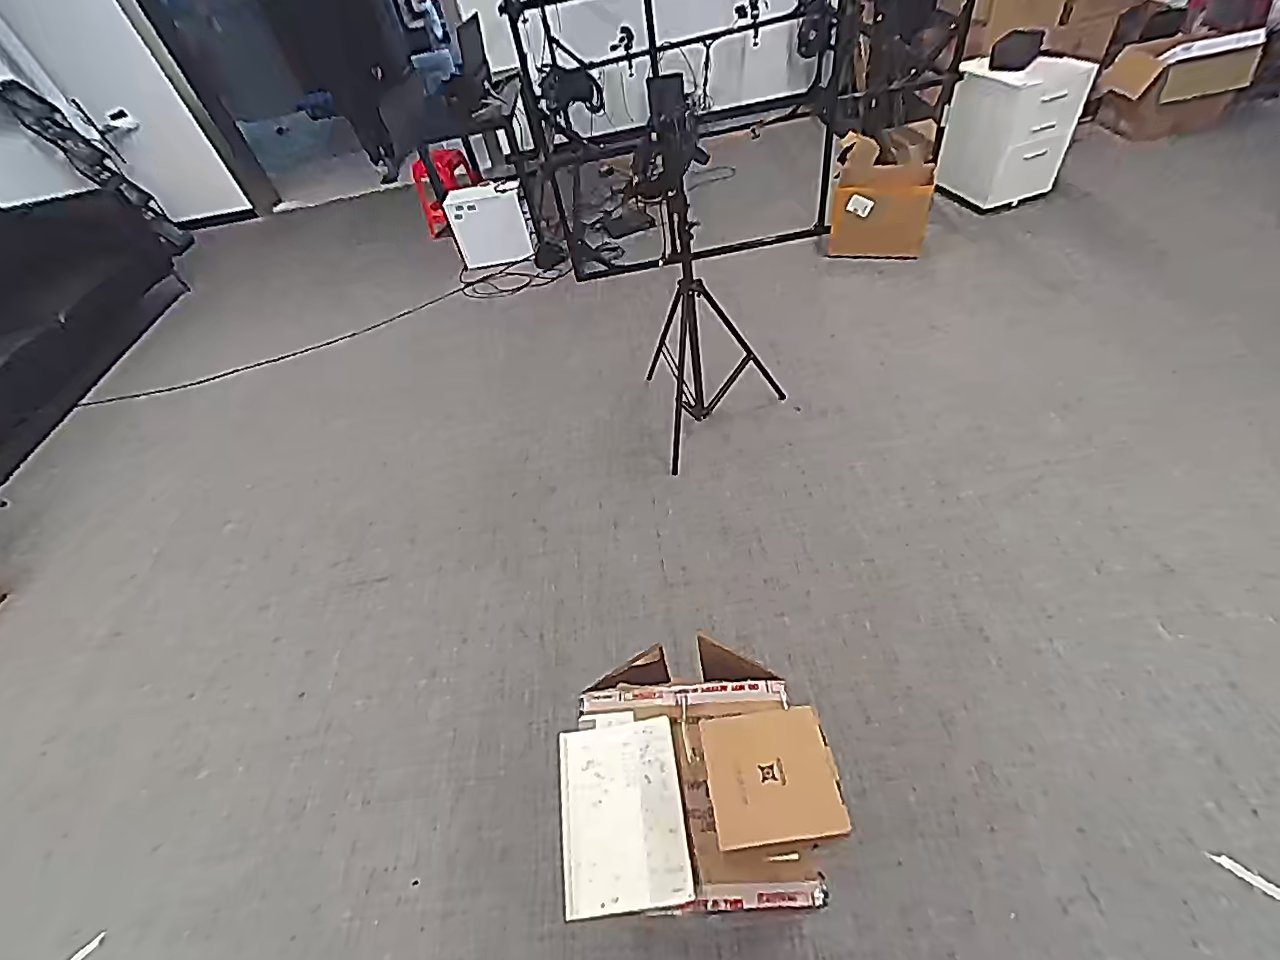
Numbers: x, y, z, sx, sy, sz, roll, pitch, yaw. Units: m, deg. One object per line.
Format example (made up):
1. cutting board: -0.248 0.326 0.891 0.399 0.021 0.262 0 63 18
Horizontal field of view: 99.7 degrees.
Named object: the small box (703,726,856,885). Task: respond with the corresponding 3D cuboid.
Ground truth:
1. small box: 0.196 0.490 0.811 0.179 0.176 0.168 -10 48 1
